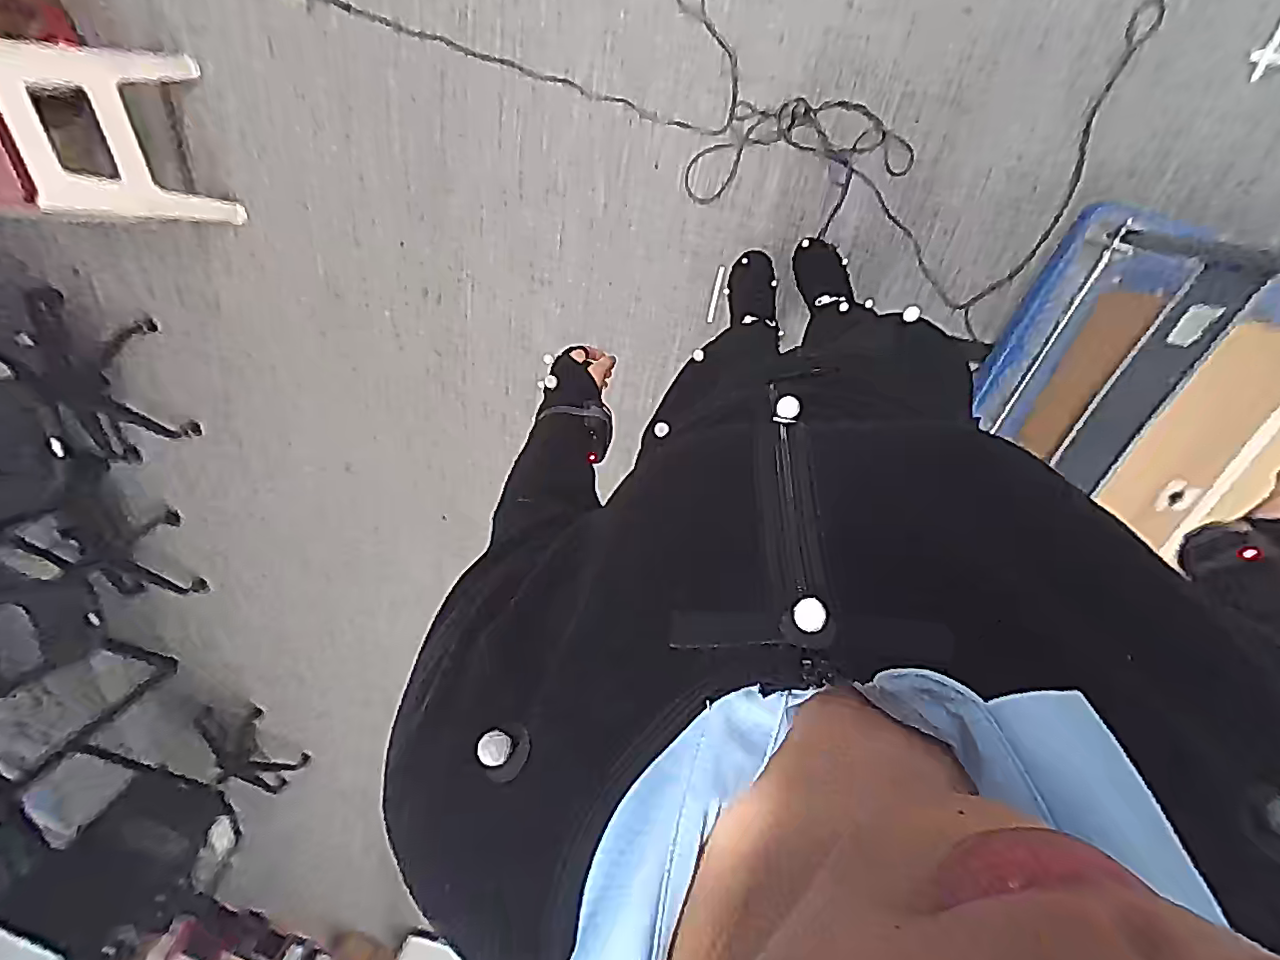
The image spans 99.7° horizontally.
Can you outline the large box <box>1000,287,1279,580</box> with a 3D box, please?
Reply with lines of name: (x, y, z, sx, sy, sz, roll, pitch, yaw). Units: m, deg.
large box: (0.958, -0.099, 0.989, 0.320, 0.320, 0.408, 16, 120, 7)
